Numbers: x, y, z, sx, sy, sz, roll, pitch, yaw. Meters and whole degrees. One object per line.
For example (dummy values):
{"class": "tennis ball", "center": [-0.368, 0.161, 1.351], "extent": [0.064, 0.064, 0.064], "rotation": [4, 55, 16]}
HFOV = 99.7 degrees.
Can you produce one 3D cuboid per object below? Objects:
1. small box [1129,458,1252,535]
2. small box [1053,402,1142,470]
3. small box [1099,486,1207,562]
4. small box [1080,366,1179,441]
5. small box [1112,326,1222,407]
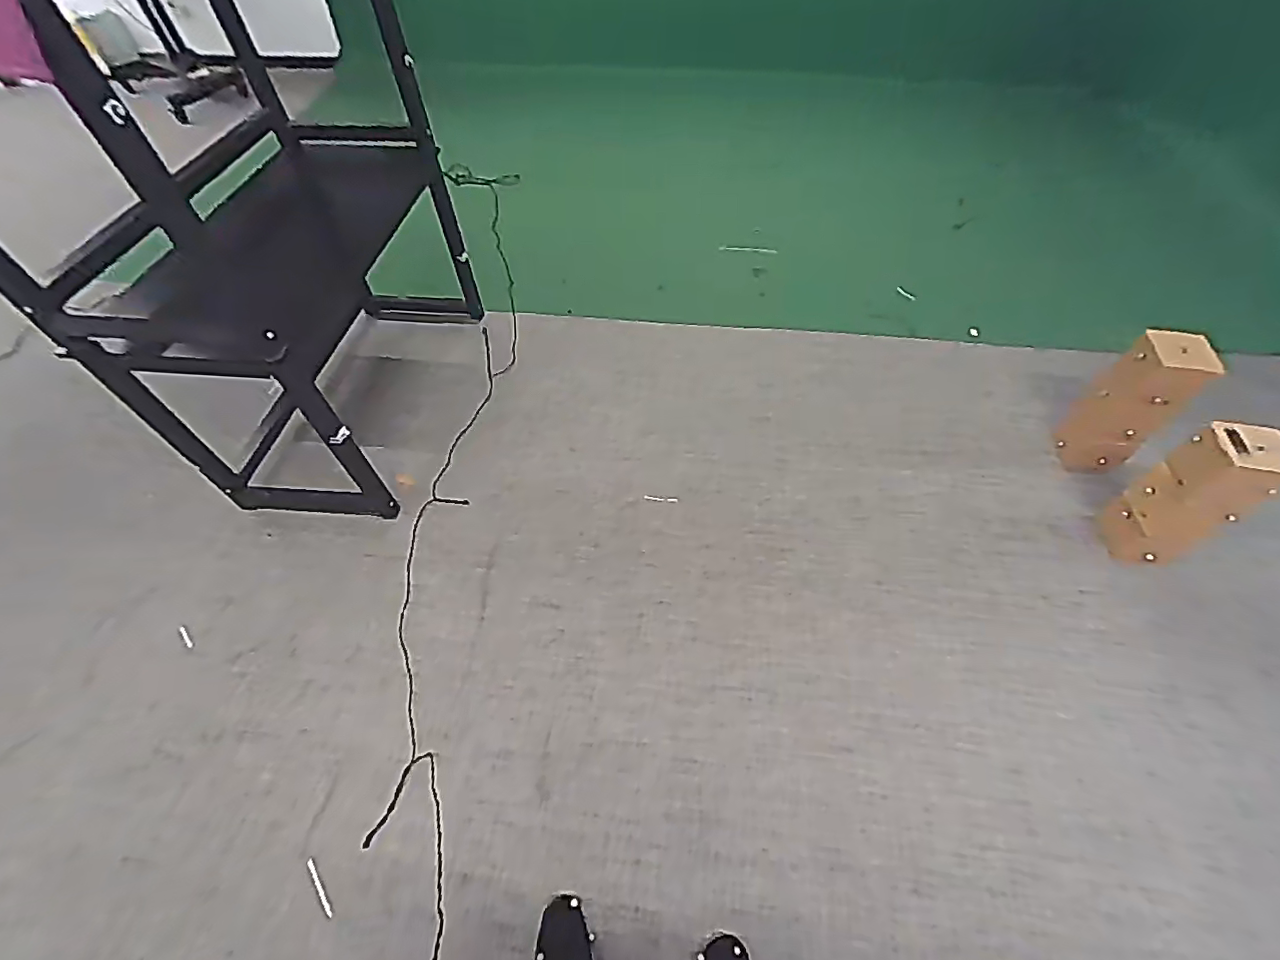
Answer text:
{"class": "small box", "center": [1.625, 0.051, 1.617], "extent": [0.179, 0.176, 0.168], "rotation": [3, 54, 3]}
{"class": "small box", "center": [1.658, -0.156, 1.972], "extent": [0.168, 0.176, 0.179], "rotation": [8, 55, 7]}
{"class": "small box", "center": [1.645, 0.144, 1.749], "extent": [0.168, 0.176, 0.179], "rotation": [6, 55, 6]}
{"class": "small box", "center": [1.657, -0.260, 1.844], "extent": [0.168, 0.176, 0.179], "rotation": [8, 54, 8]}
{"class": "small box", "center": [1.655, -0.358, 1.714], "extent": [0.168, 0.176, 0.179], "rotation": [10, 55, 9]}
